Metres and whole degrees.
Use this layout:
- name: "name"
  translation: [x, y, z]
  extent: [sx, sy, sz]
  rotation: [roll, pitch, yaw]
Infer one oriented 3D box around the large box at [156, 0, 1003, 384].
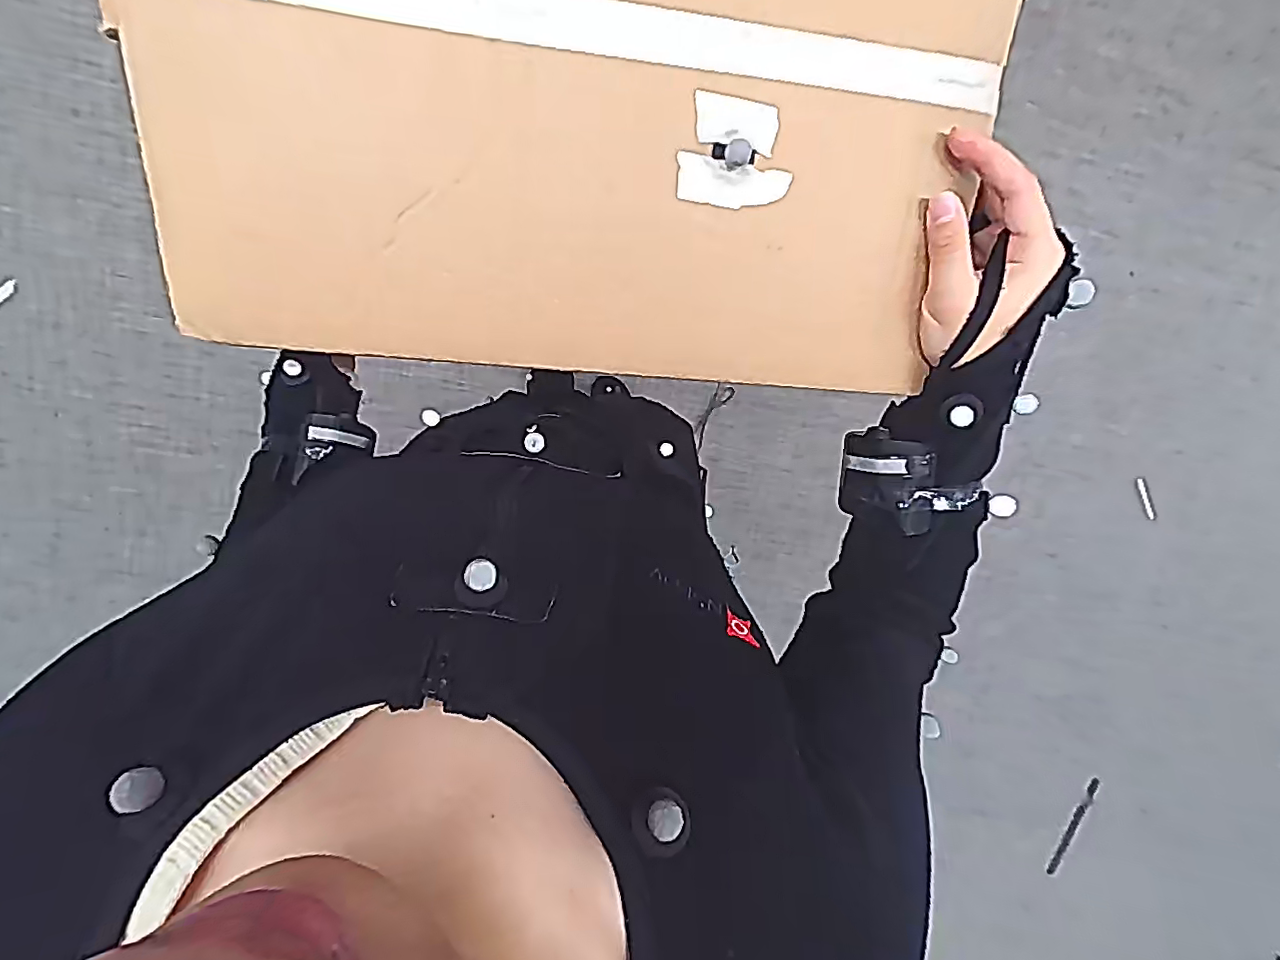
- name: "large box"
  translation: [-0.036, -0.256, 0.403]
  extent: [0.408, 0.320, 0.320]
  rotation: [2, 109, -9]
